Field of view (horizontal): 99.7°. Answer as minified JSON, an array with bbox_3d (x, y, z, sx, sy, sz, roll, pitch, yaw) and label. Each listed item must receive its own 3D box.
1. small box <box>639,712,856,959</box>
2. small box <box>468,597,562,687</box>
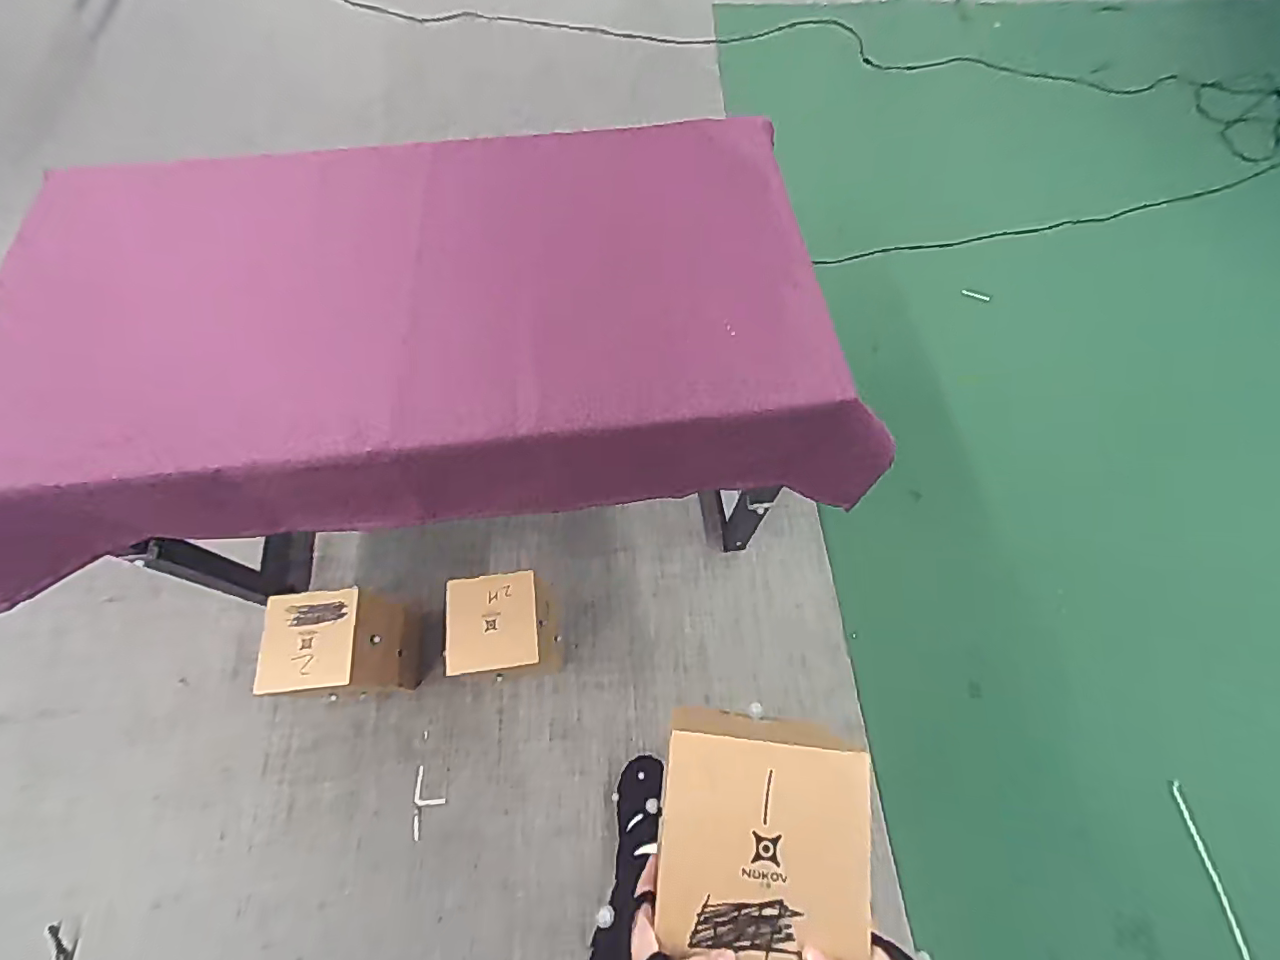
[{"bbox_3d":[0.095,0.332,0.512,0.168,0.176,0.179,5,73,5],"label":"small box"},{"bbox_3d":[-0.278,0.372,1.230,0.179,0.176,0.168,-5,65,-3],"label":"small box"}]
